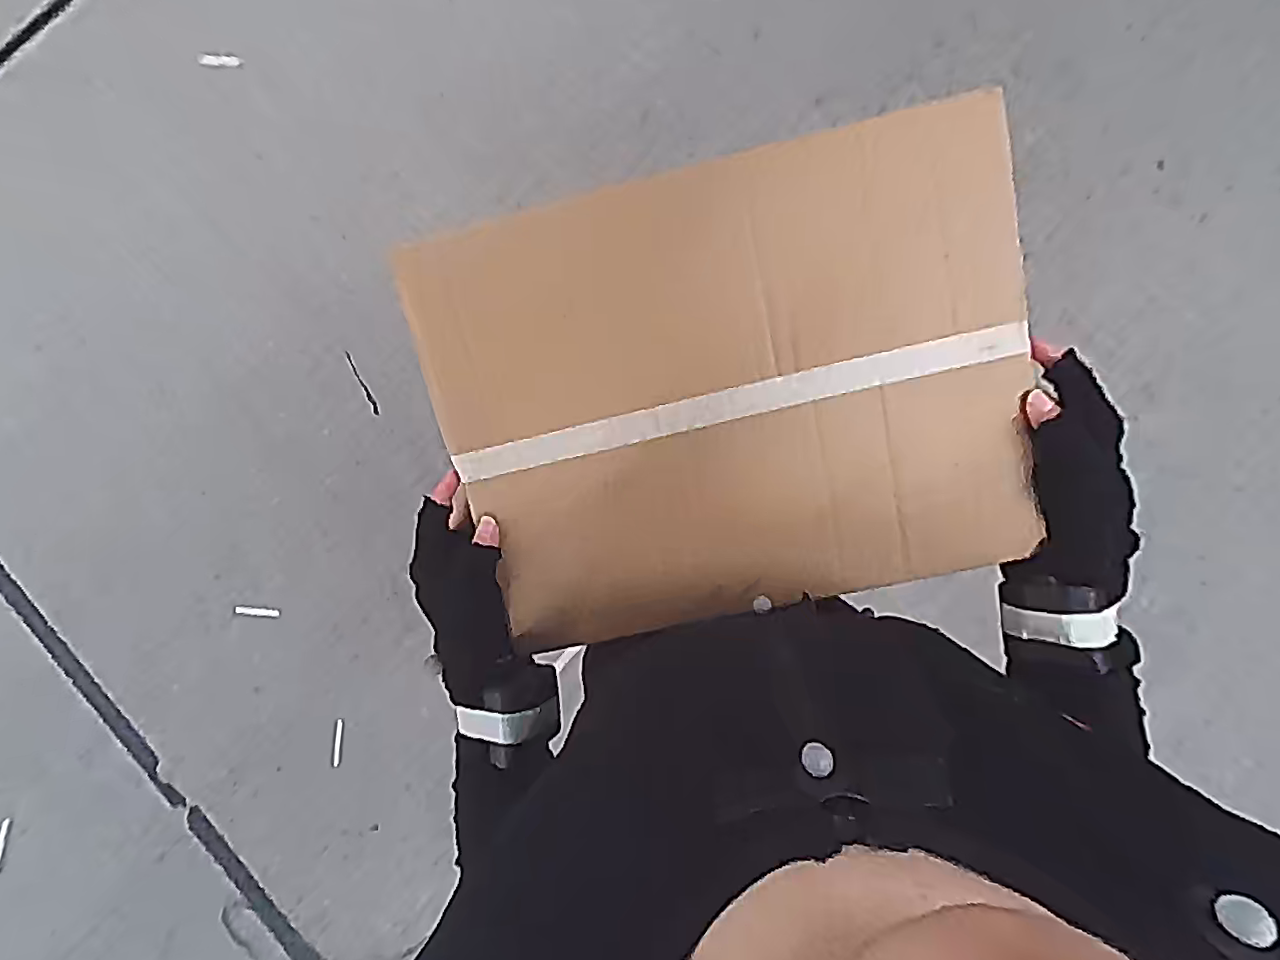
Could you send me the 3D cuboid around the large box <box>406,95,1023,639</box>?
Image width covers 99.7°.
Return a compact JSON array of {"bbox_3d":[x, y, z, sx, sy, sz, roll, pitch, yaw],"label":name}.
[{"bbox_3d":[0.064,-0.088,0.535,0.408,0.320,0.320,-12,102,4],"label":"large box"}]
